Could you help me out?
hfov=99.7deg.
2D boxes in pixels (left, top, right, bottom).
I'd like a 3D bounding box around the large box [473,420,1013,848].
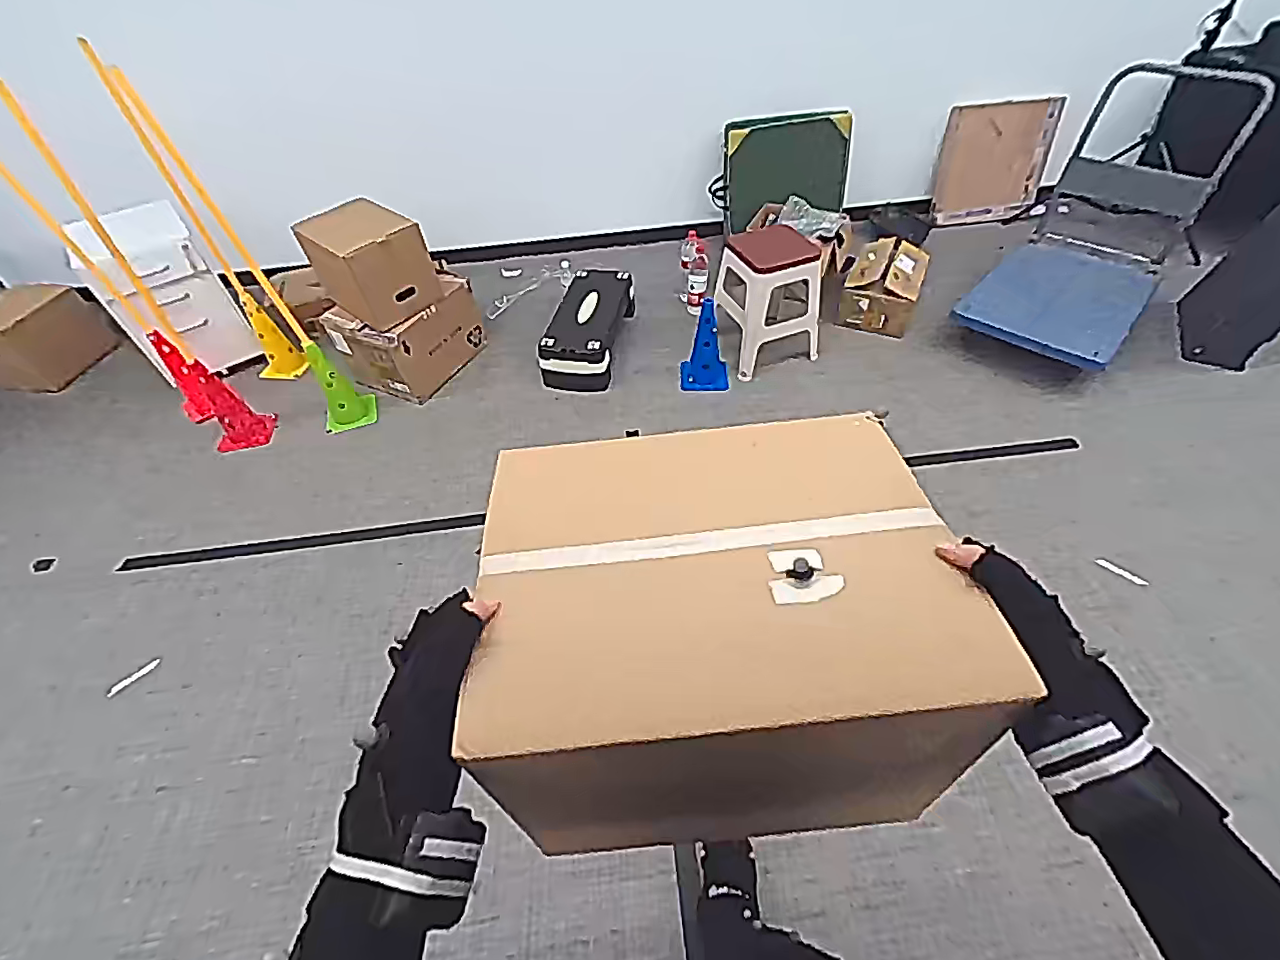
[{"bbox_3d":[0.072,0.166,0.595,0.408,0.320,0.320,-6,44,0],"label":"large box"}]
